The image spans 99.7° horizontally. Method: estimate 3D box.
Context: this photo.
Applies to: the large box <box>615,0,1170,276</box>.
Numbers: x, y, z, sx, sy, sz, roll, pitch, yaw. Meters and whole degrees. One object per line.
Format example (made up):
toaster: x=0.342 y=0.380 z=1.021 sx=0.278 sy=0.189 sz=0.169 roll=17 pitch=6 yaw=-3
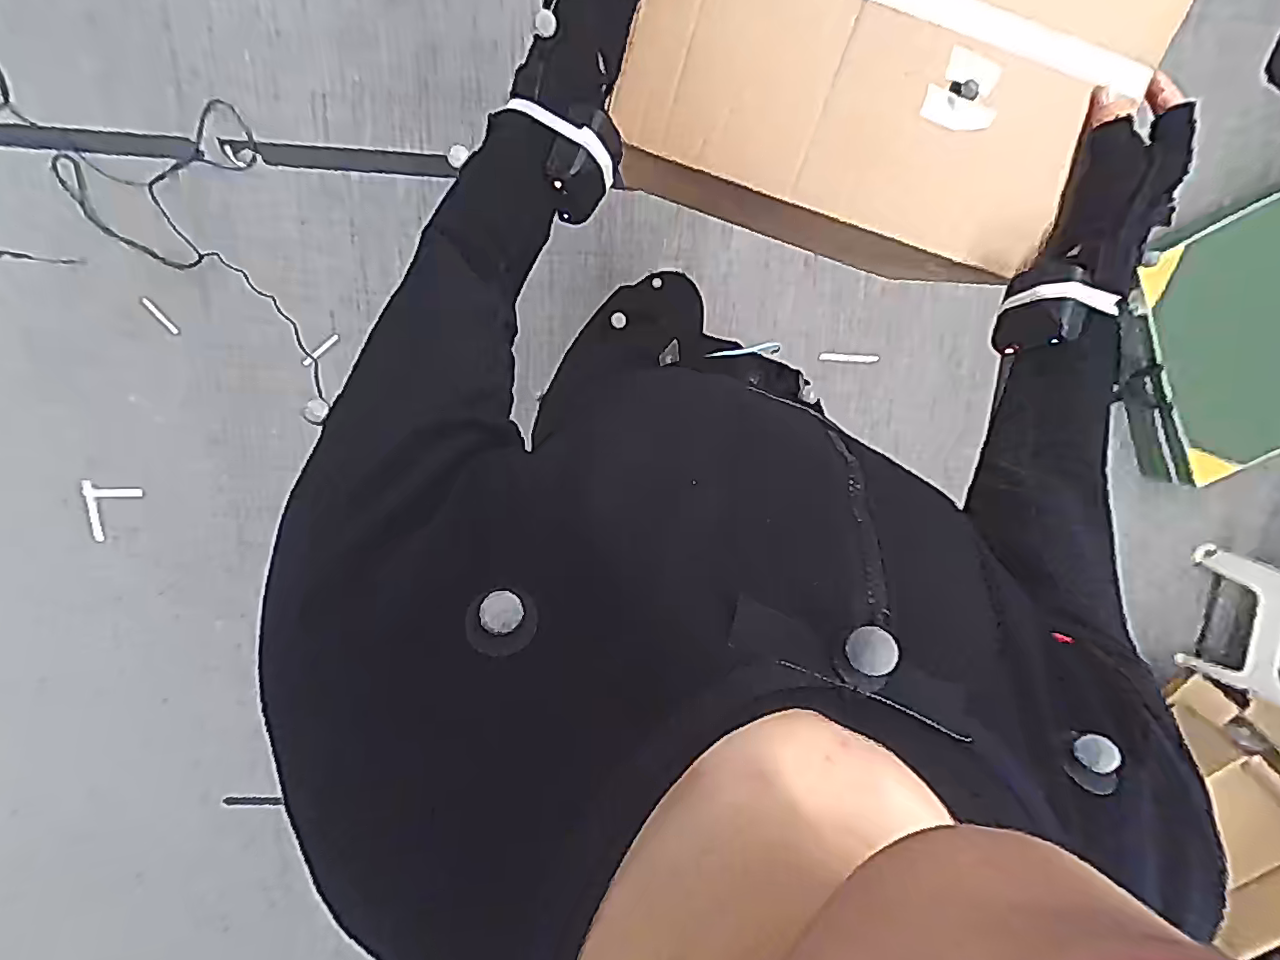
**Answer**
large box: x=0.208 y=-0.431 z=0.569 sx=0.408 sy=0.320 sz=0.320 roll=16 pitch=112 yaw=-6
